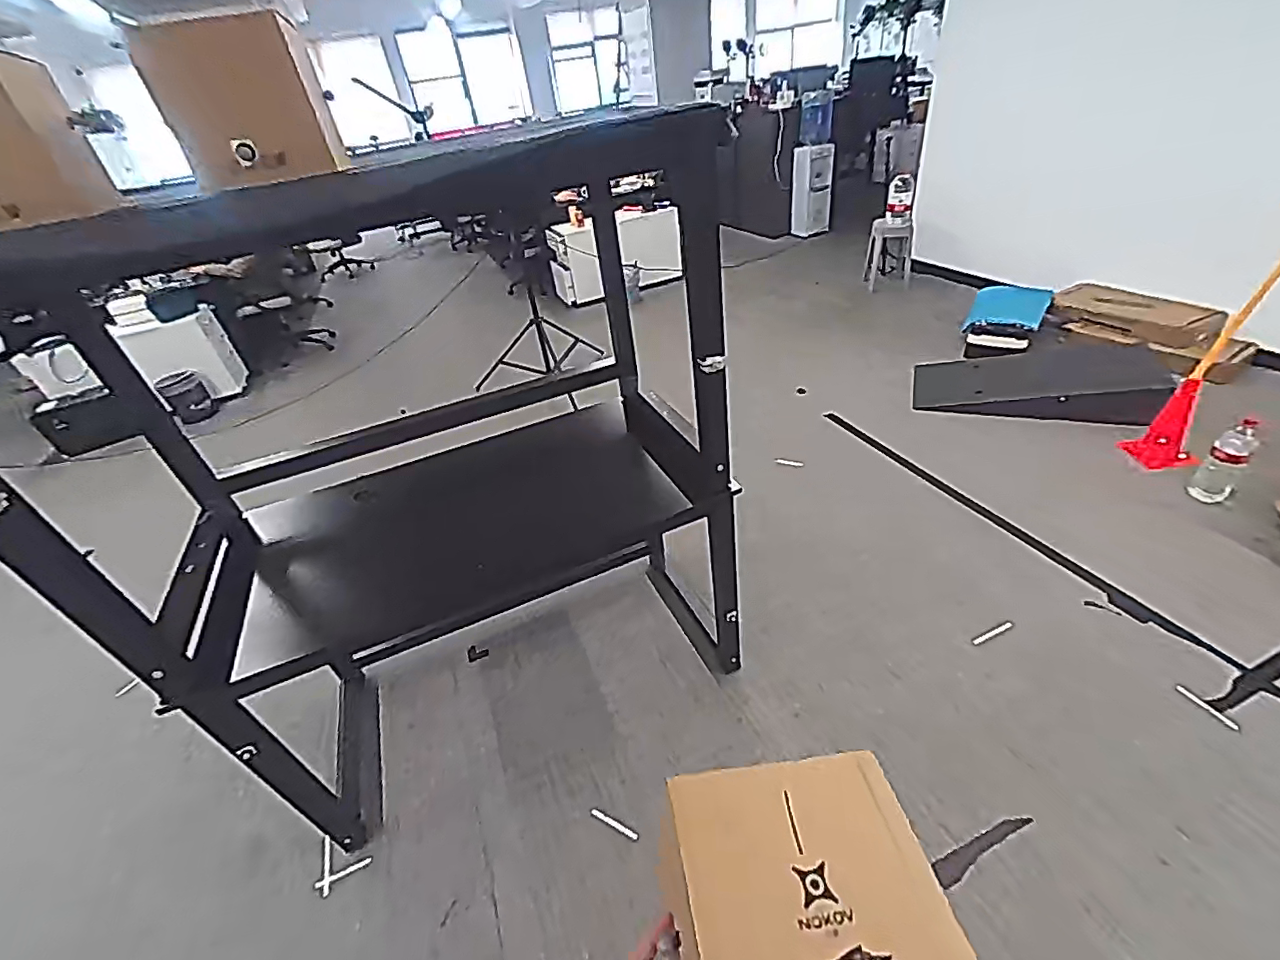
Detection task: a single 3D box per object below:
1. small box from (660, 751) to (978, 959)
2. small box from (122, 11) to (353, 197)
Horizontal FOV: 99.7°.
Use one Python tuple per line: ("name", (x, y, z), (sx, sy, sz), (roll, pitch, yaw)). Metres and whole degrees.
("small box", (0.111, 0.329, 0.386), (0.168, 0.176, 0.179), (-3, 36, -8))
("small box", (-0.498, -0.480, 0.706), (0.168, 0.176, 0.179), (-19, 36, -11))
